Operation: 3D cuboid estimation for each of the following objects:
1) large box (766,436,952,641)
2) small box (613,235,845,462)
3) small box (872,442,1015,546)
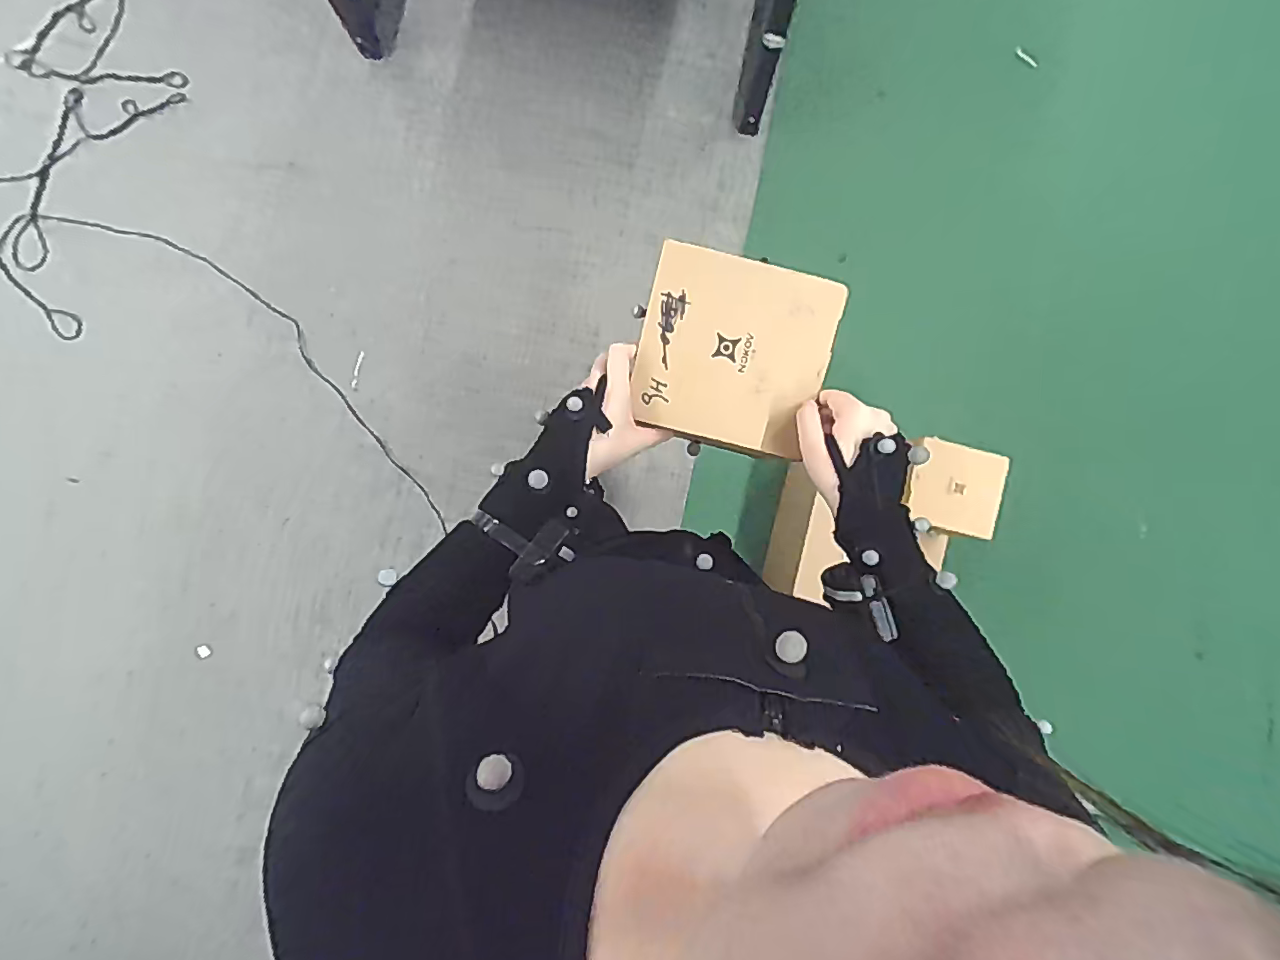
[{"bbox_3d":[0.534,0.131,1.341,0.320,0.320,0.408,14,88,2],"label":"large box"},{"bbox_3d":[0.077,-0.121,0.559,0.179,0.176,0.168,14,93,-2],"label":"small box"},{"bbox_3d":[0.607,0.028,1.102,0.179,0.176,0.168,14,88,1],"label":"small box"}]
